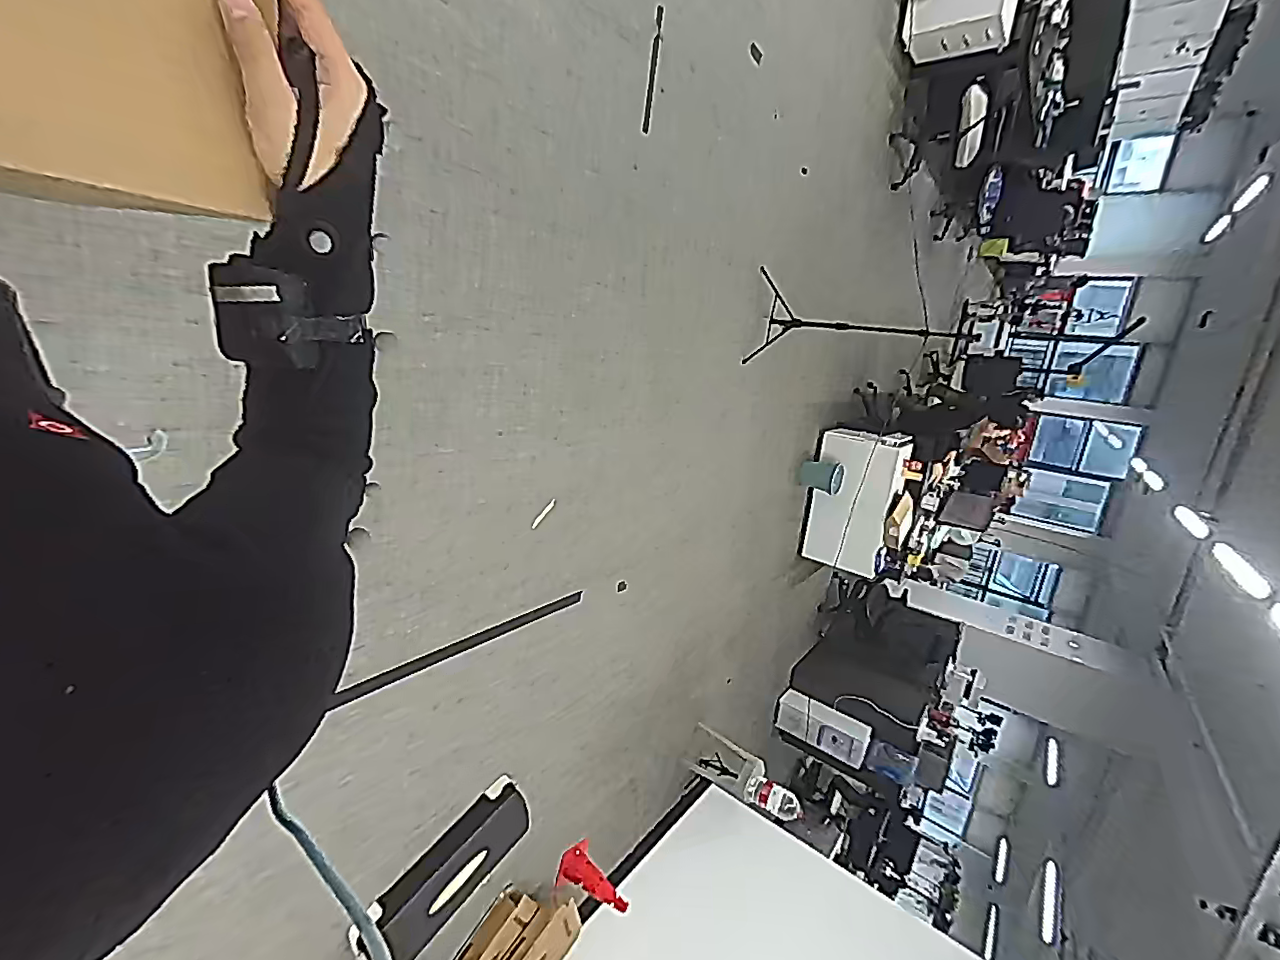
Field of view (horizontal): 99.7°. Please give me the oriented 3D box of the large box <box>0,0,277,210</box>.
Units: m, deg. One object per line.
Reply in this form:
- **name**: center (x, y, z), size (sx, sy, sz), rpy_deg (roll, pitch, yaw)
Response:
- **large box**: center (-0.434, -0.311, 0.194), size (0.408, 0.320, 0.320), rpy_deg (-19, 123, -57)
